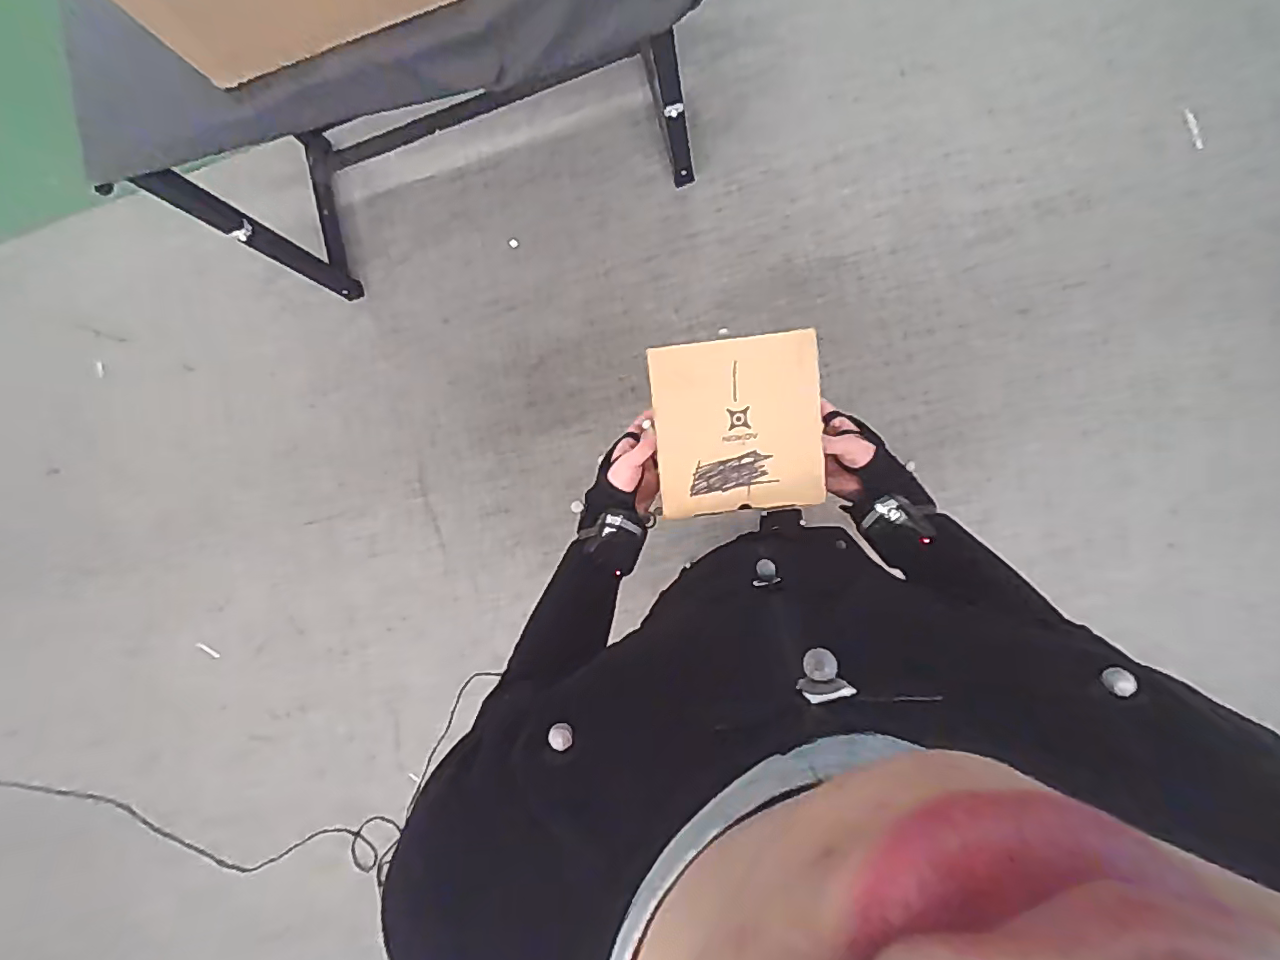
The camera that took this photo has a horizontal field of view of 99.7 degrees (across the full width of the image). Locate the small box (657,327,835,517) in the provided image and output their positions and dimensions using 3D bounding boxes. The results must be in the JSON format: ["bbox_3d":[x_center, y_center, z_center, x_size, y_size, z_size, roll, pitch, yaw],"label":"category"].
[{"bbox_3d":[0.111,-0.068,0.613,0.168,0.176,0.179,-6,99,3],"label":"small box"}]
